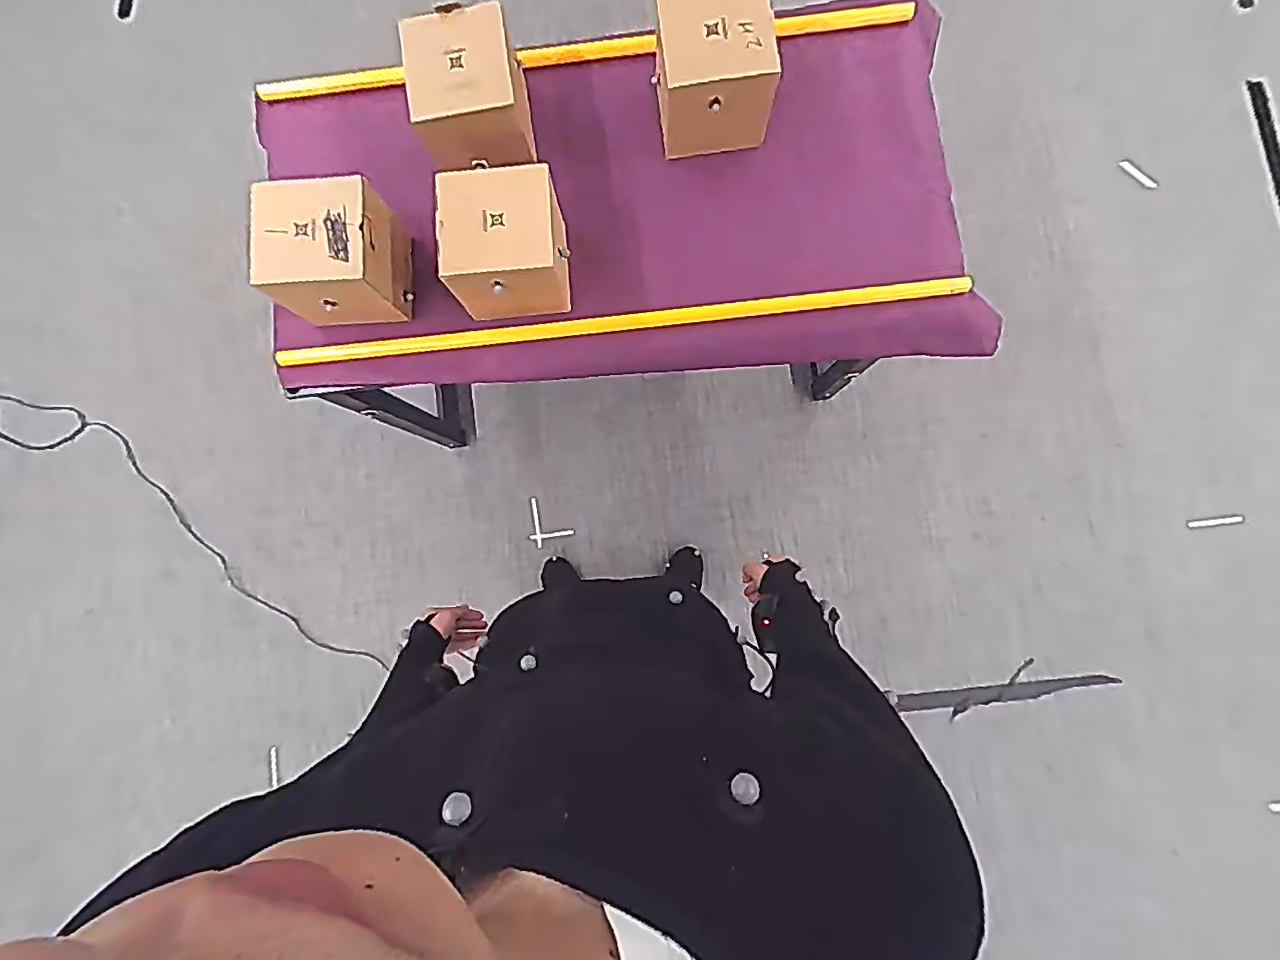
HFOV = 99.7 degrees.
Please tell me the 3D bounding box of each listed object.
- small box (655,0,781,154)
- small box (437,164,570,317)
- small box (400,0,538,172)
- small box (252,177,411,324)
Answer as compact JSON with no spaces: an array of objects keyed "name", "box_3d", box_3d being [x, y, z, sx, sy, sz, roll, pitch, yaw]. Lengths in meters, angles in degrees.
[{"name":"small box","box_3d":[0.121,-0.676,0.899,0.179,0.176,0.168,-7,86,1]},{"name":"small box","box_3d":[-0.212,-0.381,0.886,0.179,0.176,0.168,-5,84,2]},{"name":"small box","box_3d":[-0.278,-0.641,0.911,0.168,0.176,0.179,-9,86,2]},{"name":"small box","box_3d":[-0.494,-0.367,0.892,0.179,0.176,0.168,-2,85,2]}]
